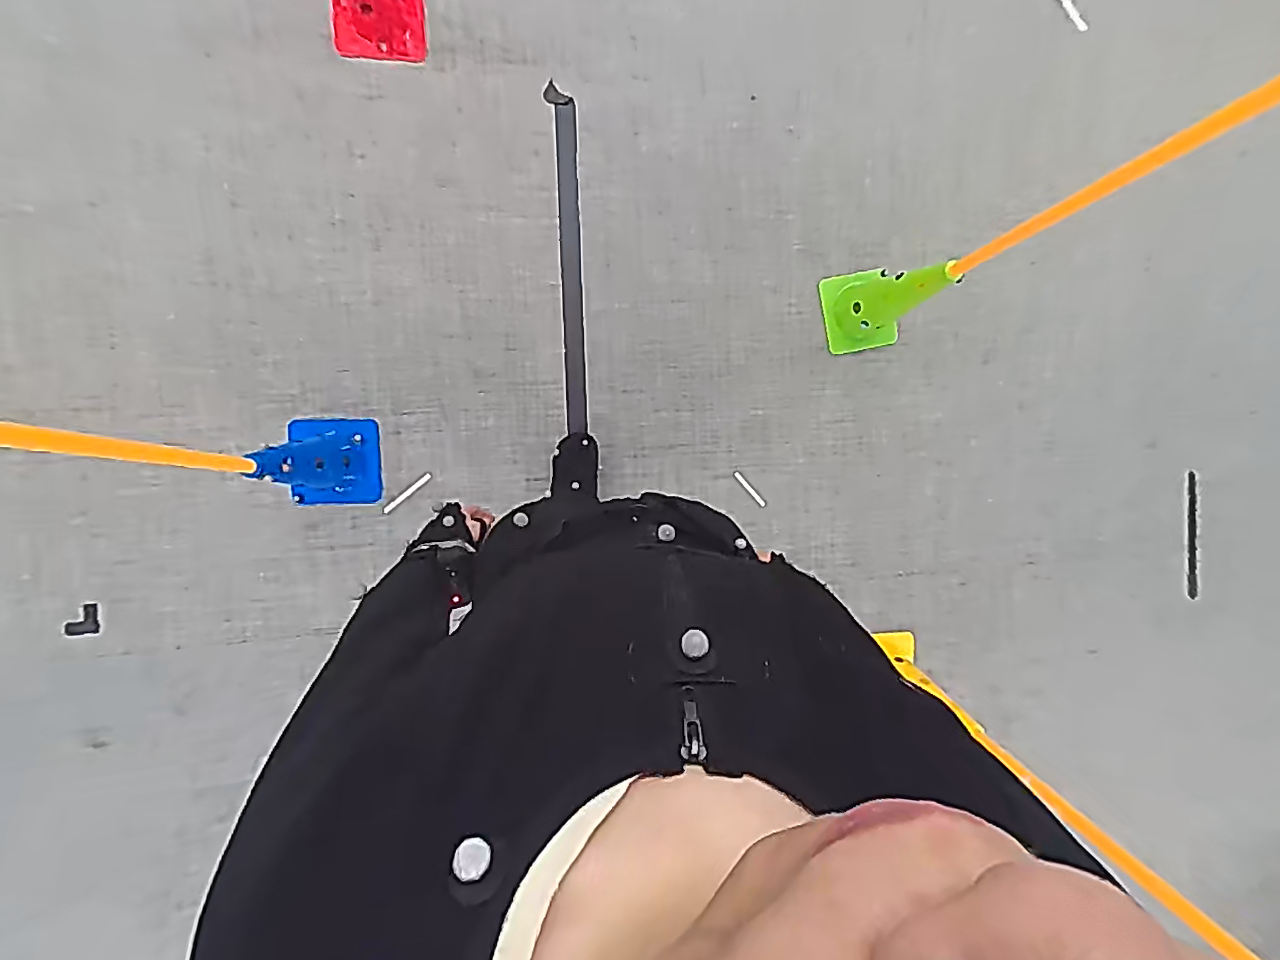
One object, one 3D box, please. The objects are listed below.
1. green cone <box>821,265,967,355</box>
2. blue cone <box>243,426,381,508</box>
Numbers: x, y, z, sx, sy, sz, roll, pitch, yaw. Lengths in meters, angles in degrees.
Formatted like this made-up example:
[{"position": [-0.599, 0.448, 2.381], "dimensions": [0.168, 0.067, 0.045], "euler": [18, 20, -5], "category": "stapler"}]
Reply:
[{"position": [0.606, -0.430, 1.256], "dimensions": [0.200, 0.368, 0.202], "euler": [-14, 97, -7], "category": "green cone"}, {"position": [-0.687, -0.020, 1.103], "dimensions": [0.193, 0.380, 0.192], "euler": [0, 94, -8], "category": "blue cone"}]
